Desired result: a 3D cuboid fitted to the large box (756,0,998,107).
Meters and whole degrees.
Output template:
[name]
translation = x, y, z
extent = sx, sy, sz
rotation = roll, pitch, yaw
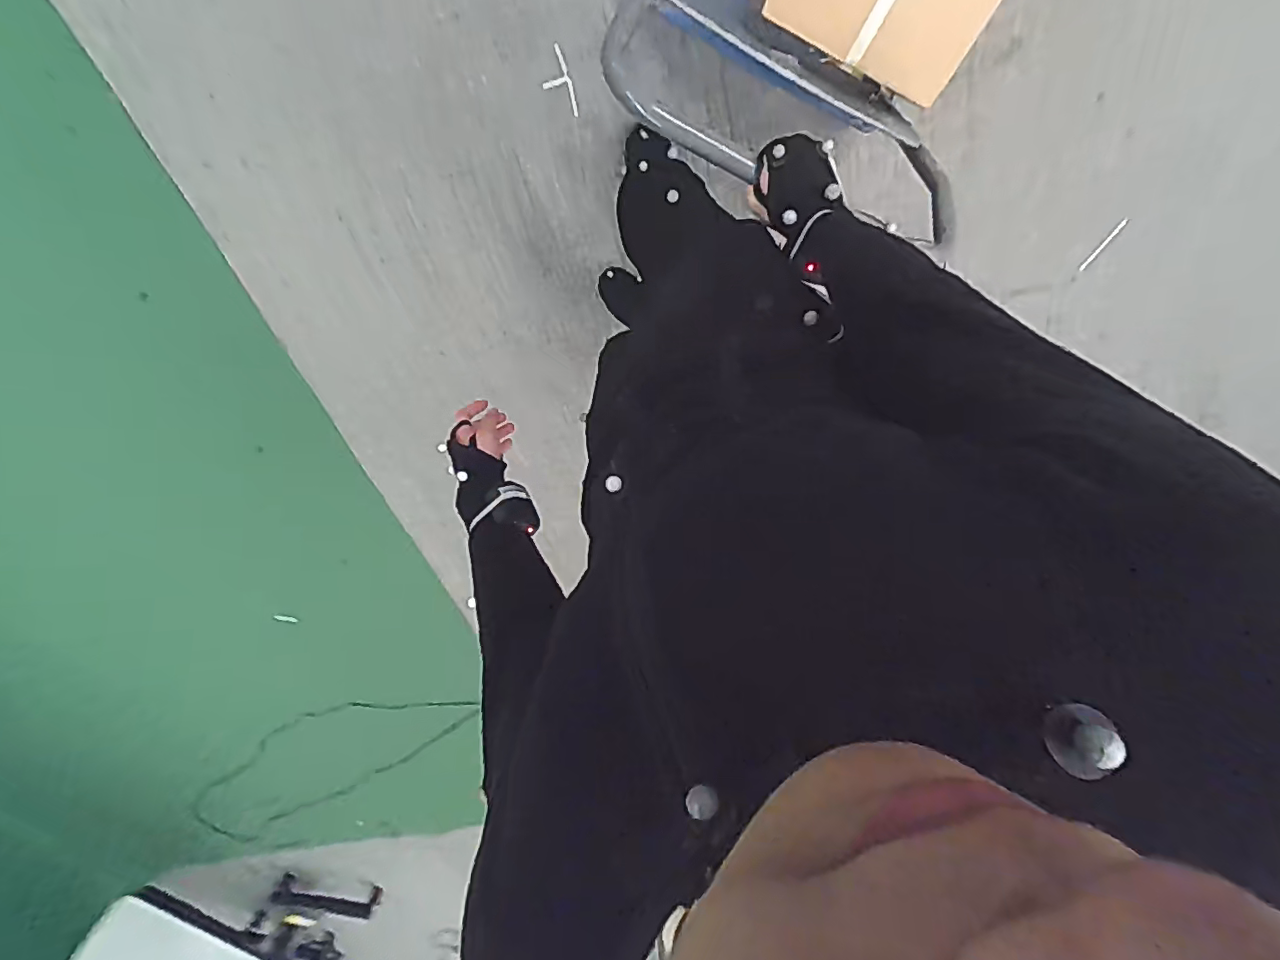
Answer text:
[large box]
translation = 0.413, -0.882, 0.827
extent = 0.320, 0.320, 0.408
rotation = 20, 133, -12
